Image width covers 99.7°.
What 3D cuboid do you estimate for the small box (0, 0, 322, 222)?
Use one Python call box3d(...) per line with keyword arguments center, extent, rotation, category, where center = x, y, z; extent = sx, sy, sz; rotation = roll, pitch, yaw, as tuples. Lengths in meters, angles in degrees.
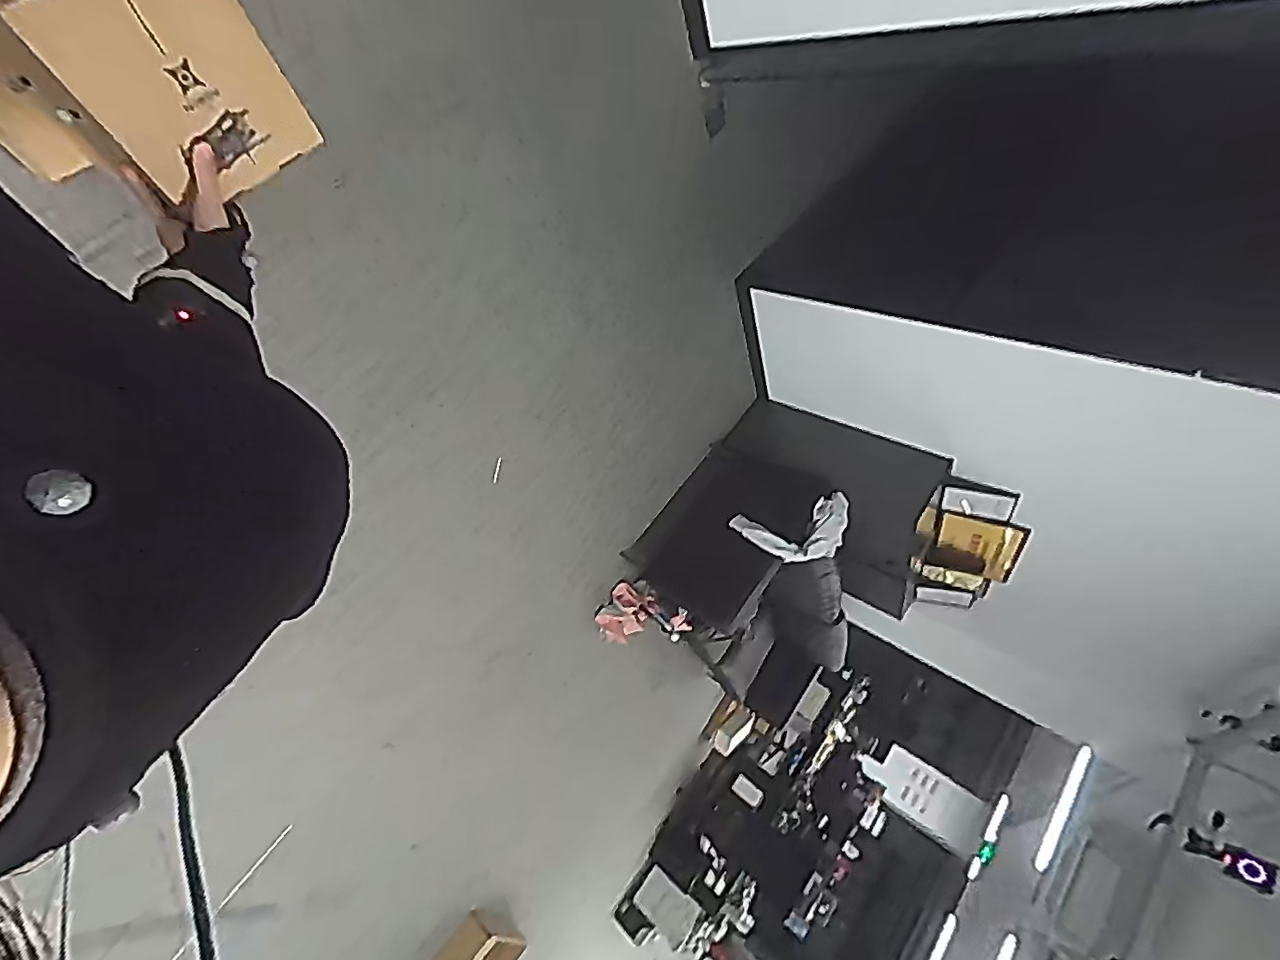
box3d(center=(-0.472, -0.397, 0.532), extent=(0.168, 0.176, 0.179), rotation=(-50, 152, -19), category="small box")
